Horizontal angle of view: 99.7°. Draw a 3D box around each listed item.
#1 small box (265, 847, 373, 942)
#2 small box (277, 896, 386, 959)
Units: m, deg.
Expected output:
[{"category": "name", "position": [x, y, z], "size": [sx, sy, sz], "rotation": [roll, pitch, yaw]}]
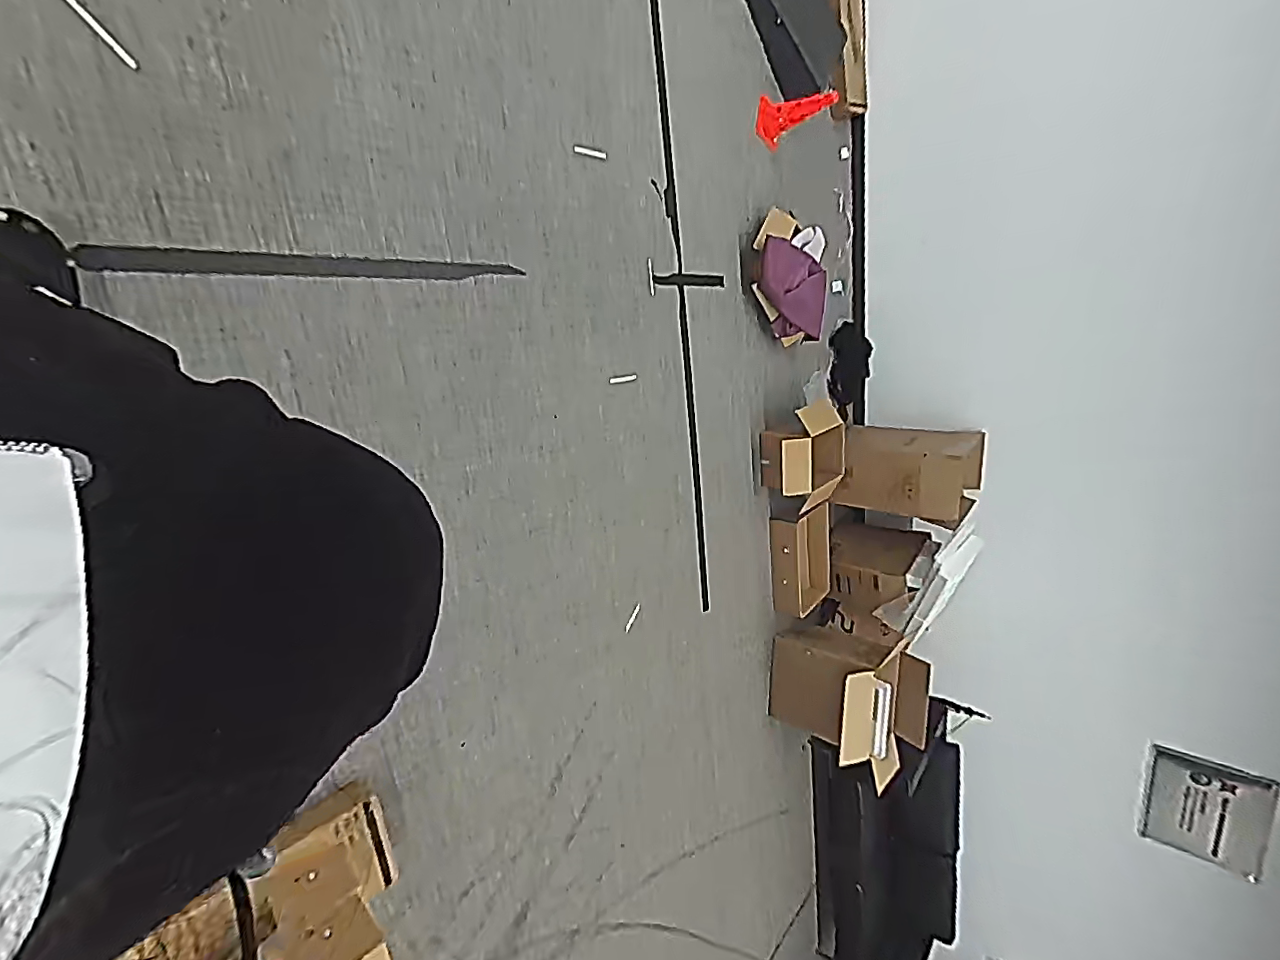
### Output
[{"category": "small box", "position": [-0.774, 1.050, 1.308], "size": [0.168, 0.176, 0.179], "rotation": [-22, 111, -43]}, {"category": "small box", "position": [-0.666, 1.080, 1.186], "size": [0.168, 0.176, 0.179], "rotation": [-20, 111, -44]}]
